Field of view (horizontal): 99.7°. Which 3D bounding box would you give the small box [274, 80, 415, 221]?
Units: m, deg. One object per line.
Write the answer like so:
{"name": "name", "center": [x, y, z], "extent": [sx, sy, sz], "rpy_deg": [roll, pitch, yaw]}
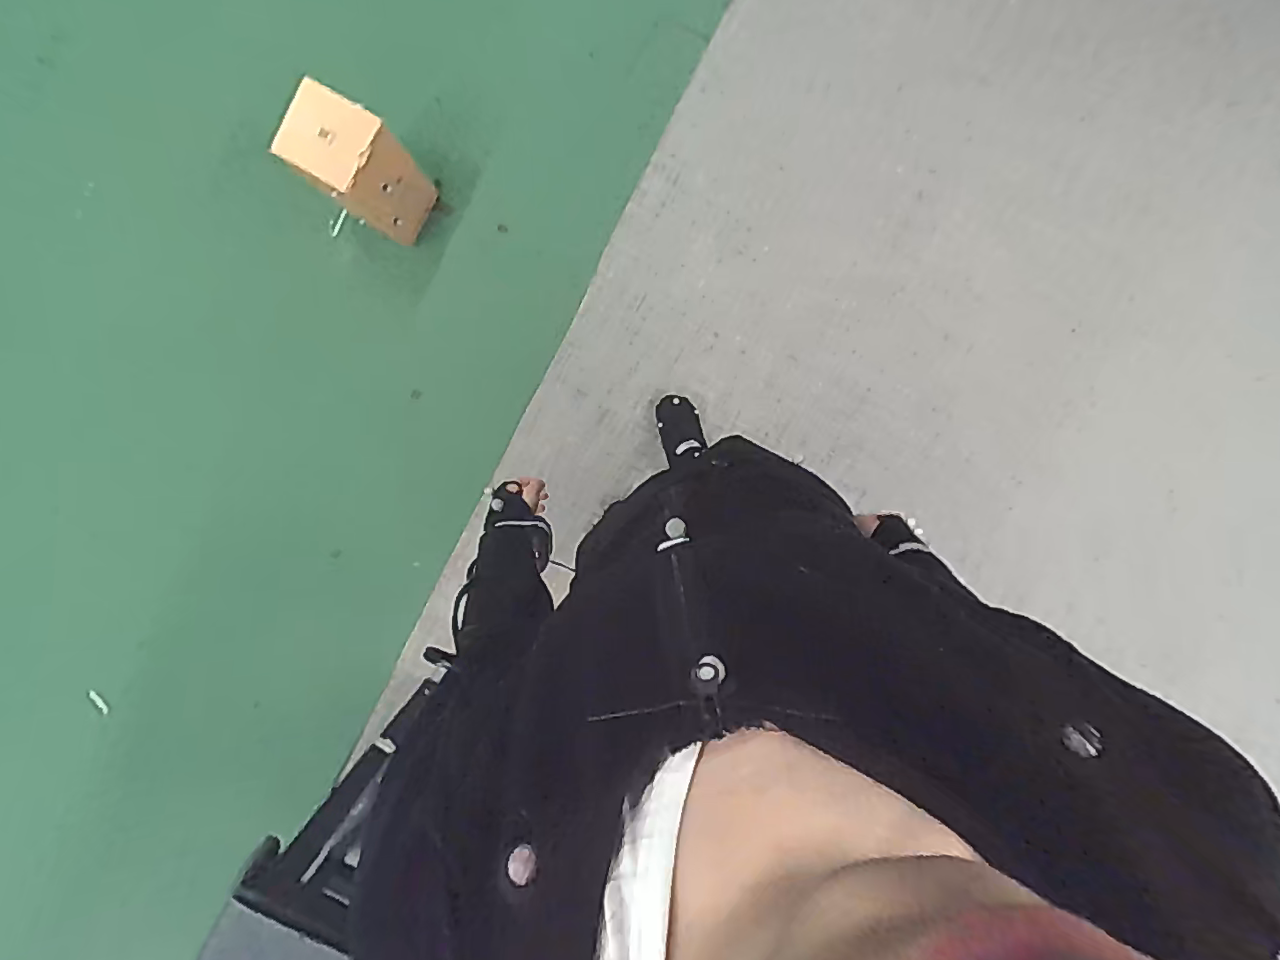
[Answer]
{"name": "small box", "center": [-0.629, -0.700, 1.174], "extent": [0.179, 0.176, 0.168], "rpy_deg": [29, 93, -2]}
